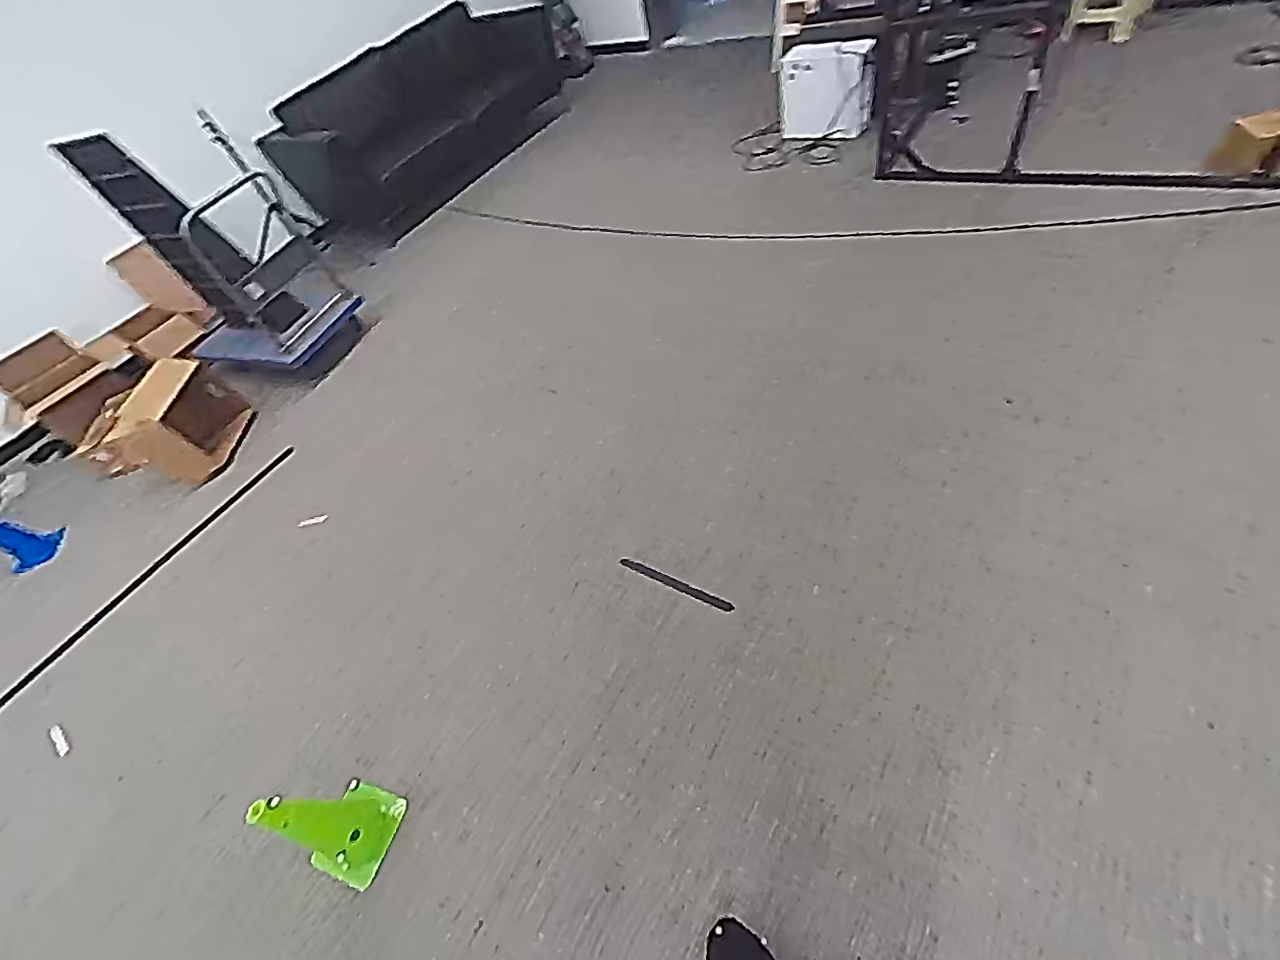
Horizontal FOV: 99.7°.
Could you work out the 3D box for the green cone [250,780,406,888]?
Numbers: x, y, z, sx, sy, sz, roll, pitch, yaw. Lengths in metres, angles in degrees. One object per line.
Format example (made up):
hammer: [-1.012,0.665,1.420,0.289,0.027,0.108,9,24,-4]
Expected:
green cone: [-0.765,0.804,1.266,0.202,0.368,0.200,6,55,21]
